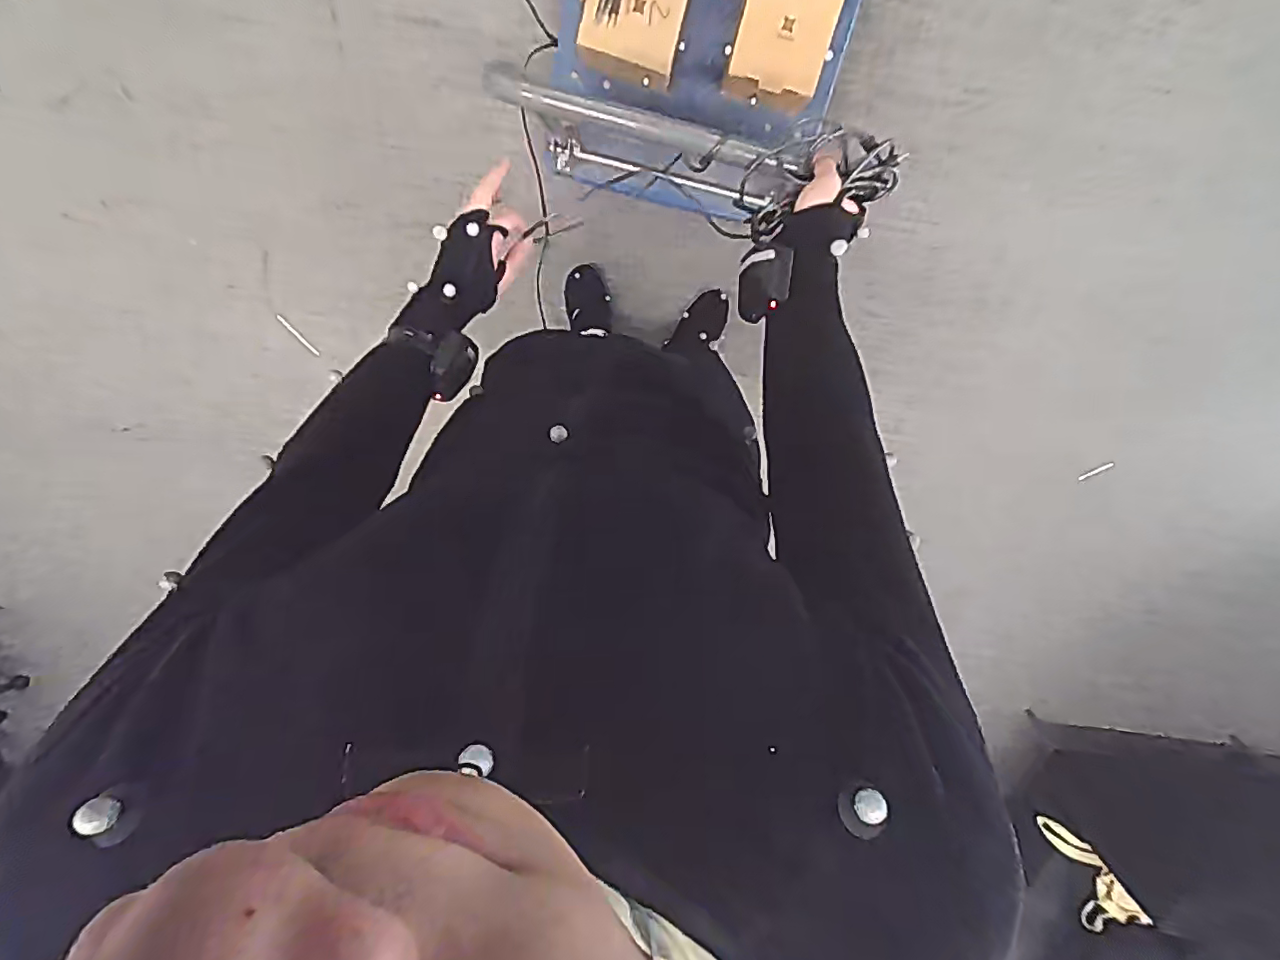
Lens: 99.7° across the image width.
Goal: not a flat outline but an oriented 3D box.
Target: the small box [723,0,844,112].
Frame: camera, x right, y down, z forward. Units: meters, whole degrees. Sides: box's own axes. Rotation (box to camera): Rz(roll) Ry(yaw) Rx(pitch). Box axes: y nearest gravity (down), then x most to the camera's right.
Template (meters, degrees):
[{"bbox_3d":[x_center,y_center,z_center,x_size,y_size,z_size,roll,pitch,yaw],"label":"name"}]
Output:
[{"bbox_3d":[0.263,-0.834,1.026,0.168,0.176,0.179,13,115,-4],"label":"small box"}]
